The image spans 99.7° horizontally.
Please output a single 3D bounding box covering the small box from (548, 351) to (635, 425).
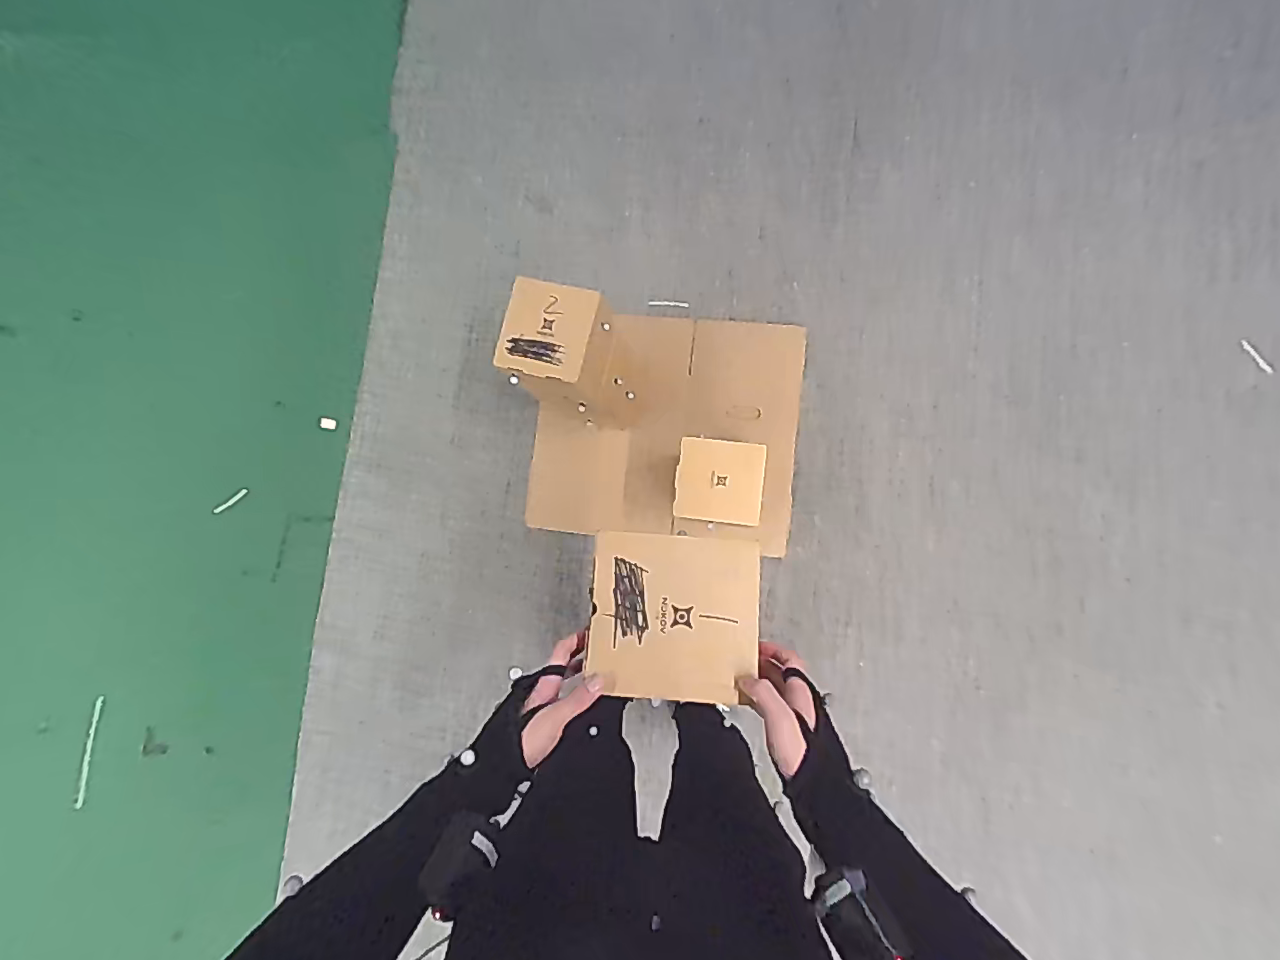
[{"bbox_3d":[-0.120,-0.245,1.381,0.179,0.176,0.168,14,86,8],"label":"small box"}]

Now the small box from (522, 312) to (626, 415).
[{"bbox_3d":[-0.138,-0.254,1.216,0.179,0.176,0.168,14,86,8],"label":"small box"}]

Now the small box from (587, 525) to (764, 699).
[{"bbox_3d":[0.040,0.151,0.634,0.179,0.176,0.168,4,78,1],"label":"small box"}]

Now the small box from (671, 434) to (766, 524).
[{"bbox_3d":[0.168,0.002,1.161,0.179,0.176,0.168,6,86,9],"label":"small box"}]
